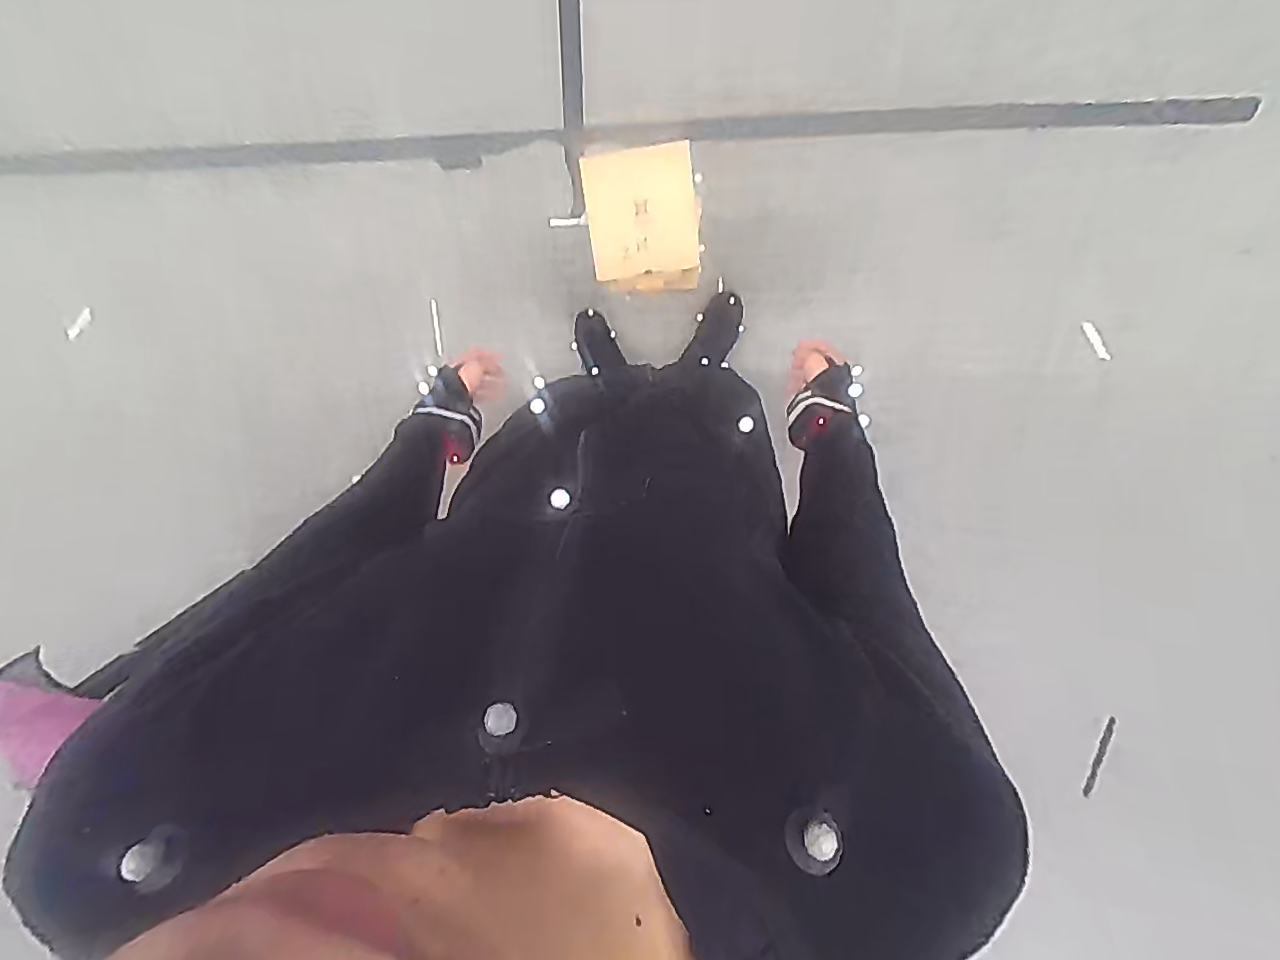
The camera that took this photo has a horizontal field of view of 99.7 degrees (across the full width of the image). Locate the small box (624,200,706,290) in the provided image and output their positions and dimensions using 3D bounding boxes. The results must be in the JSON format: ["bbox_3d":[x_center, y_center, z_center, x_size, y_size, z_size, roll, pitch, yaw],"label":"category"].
[{"bbox_3d":[0.052,-0.525,1.211,0.168,0.176,0.179,4,112,2],"label":"small box"}]

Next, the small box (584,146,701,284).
[{"bbox_3d":[0.010,-0.427,0.898,0.168,0.176,0.179,-5,111,6],"label":"small box"}]
